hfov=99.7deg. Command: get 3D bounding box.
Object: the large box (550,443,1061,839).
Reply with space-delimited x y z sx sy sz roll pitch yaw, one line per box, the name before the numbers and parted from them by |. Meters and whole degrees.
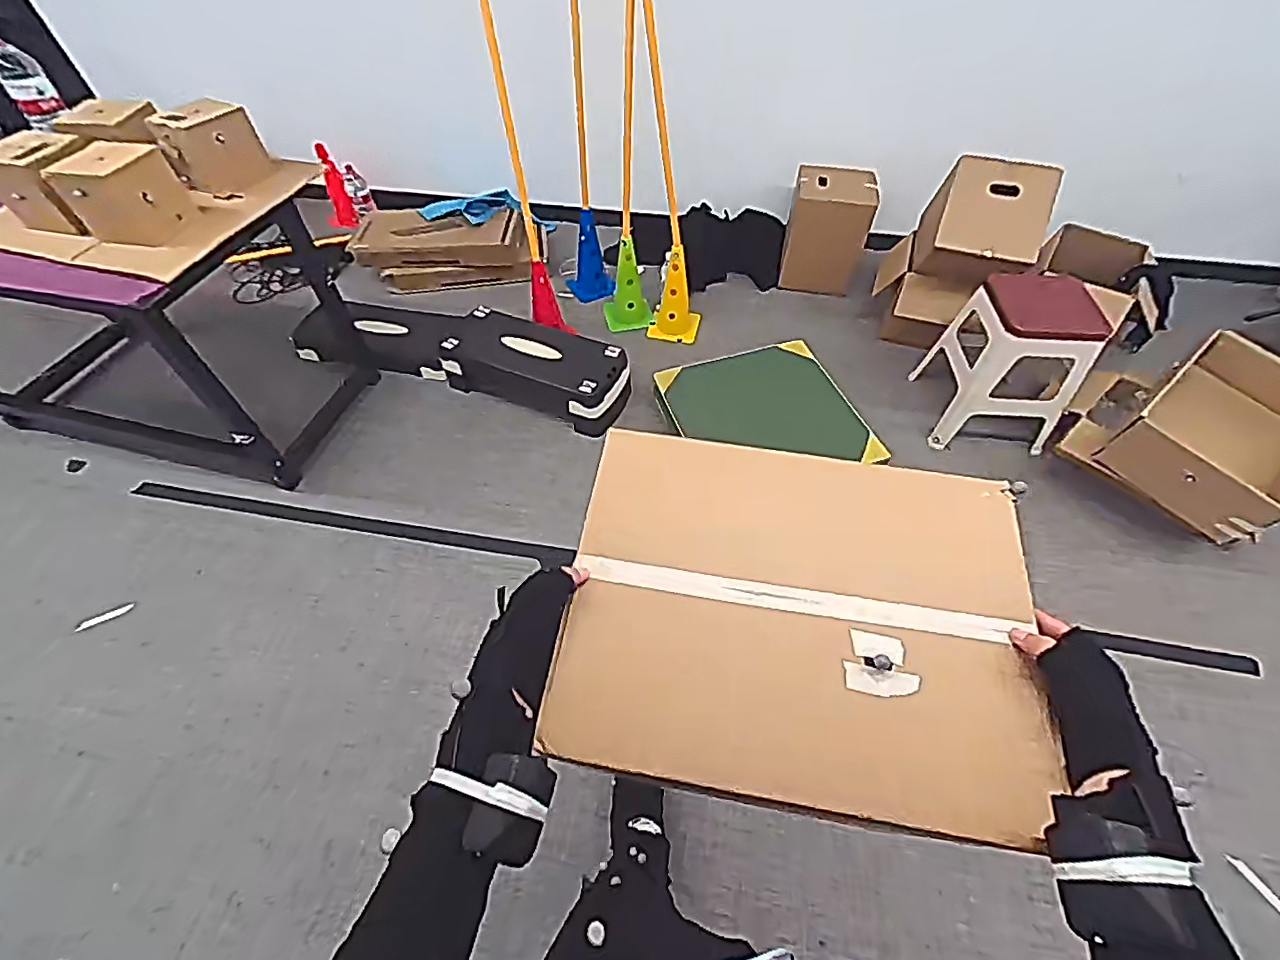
large box | 0.141 0.188 0.620 0.408 0.320 0.320 8 61 5
